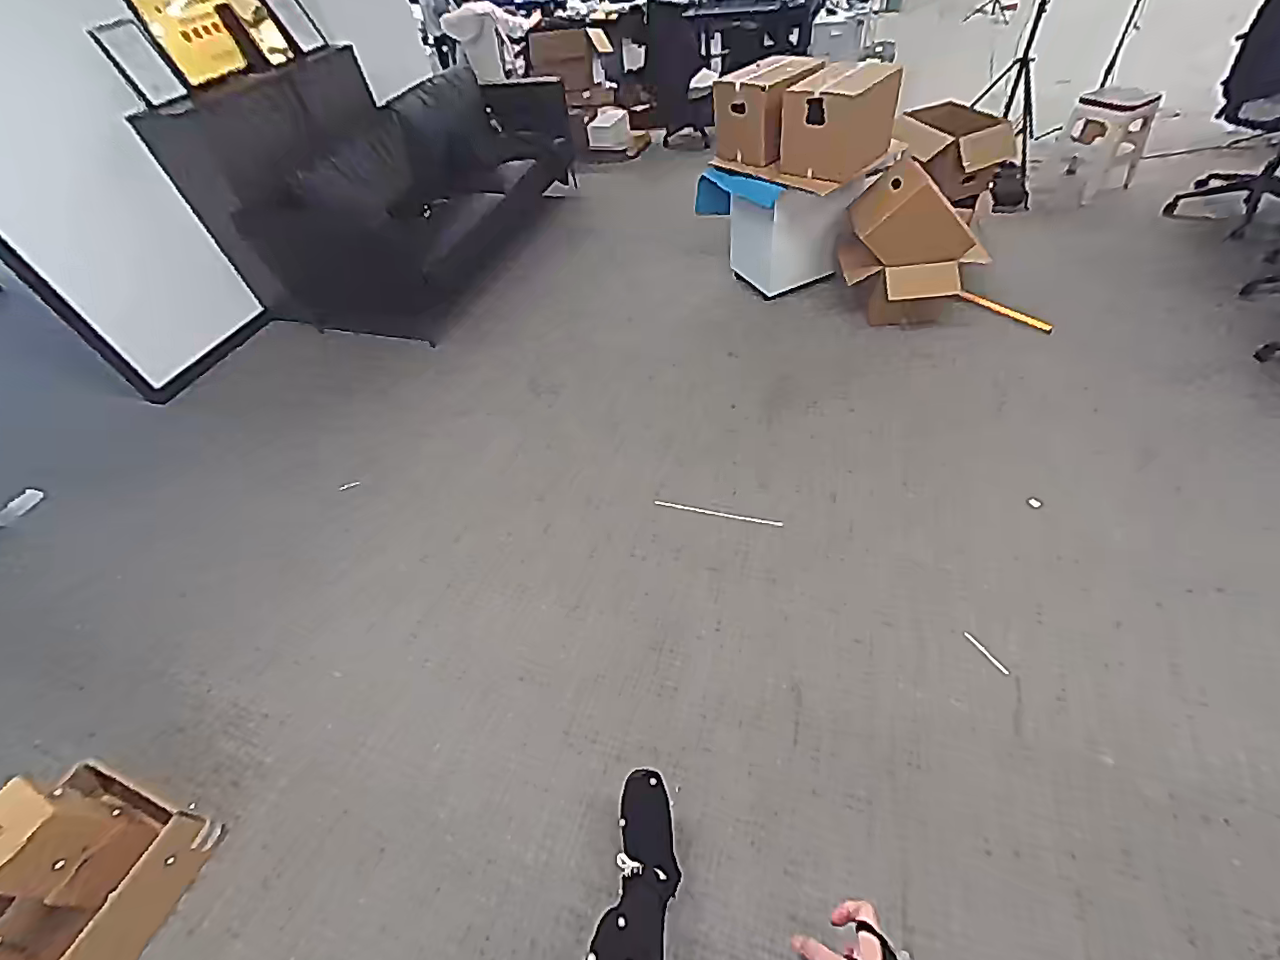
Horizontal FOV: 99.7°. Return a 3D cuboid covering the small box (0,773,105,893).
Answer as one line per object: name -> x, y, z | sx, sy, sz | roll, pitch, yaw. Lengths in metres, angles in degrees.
small box -> -1.405, 0.806, 1.230 | 0.179, 0.176, 0.168 | 16, 53, 19
